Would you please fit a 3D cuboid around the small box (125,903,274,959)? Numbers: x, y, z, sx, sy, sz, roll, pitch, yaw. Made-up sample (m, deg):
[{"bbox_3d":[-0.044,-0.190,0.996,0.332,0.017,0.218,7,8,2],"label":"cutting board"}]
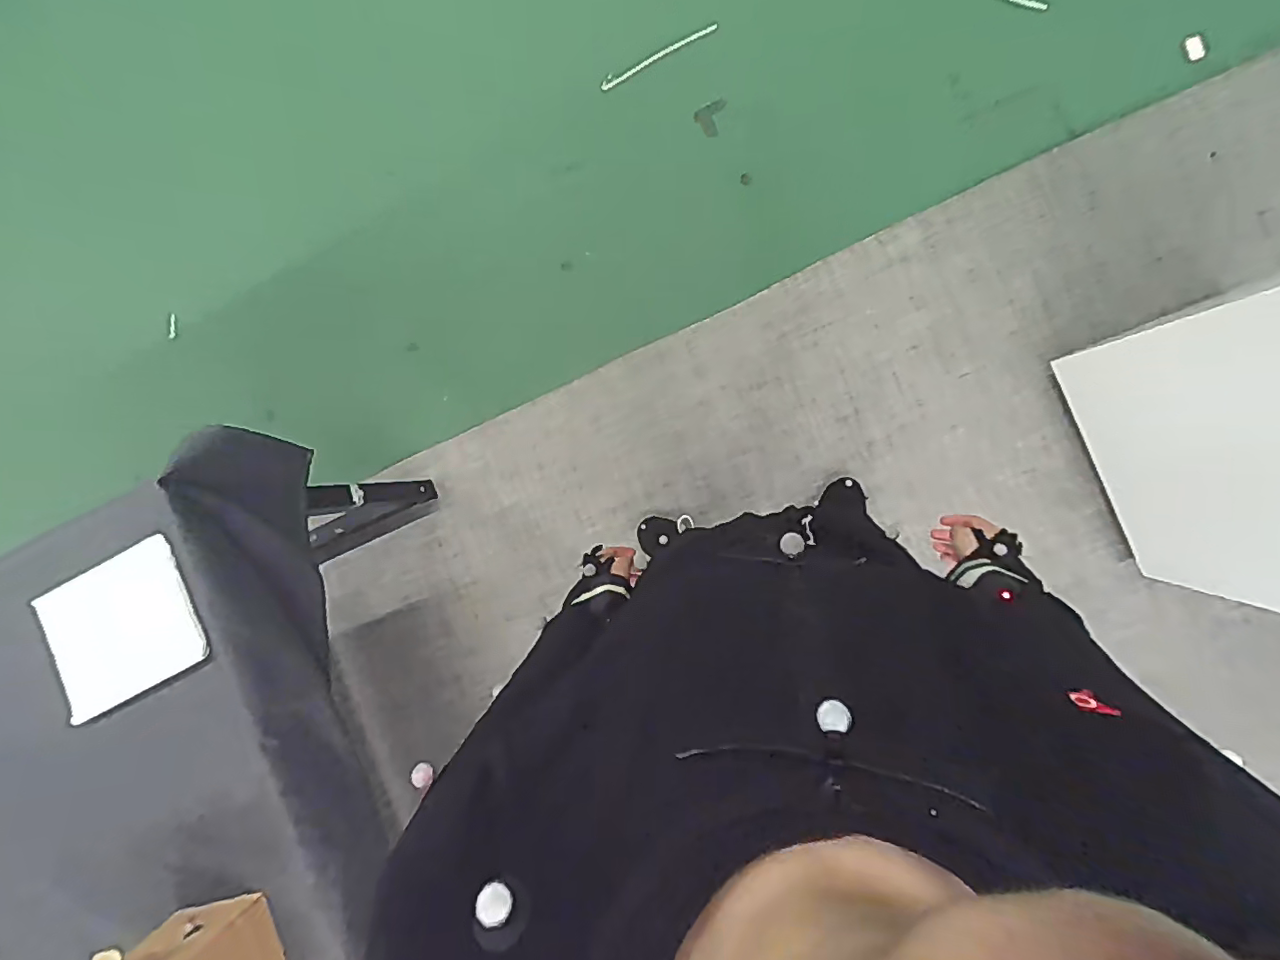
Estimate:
[{"bbox_3d":[-0.596,0.701,0.692,0.168,0.176,0.179,-20,87,11],"label":"small box"}]
